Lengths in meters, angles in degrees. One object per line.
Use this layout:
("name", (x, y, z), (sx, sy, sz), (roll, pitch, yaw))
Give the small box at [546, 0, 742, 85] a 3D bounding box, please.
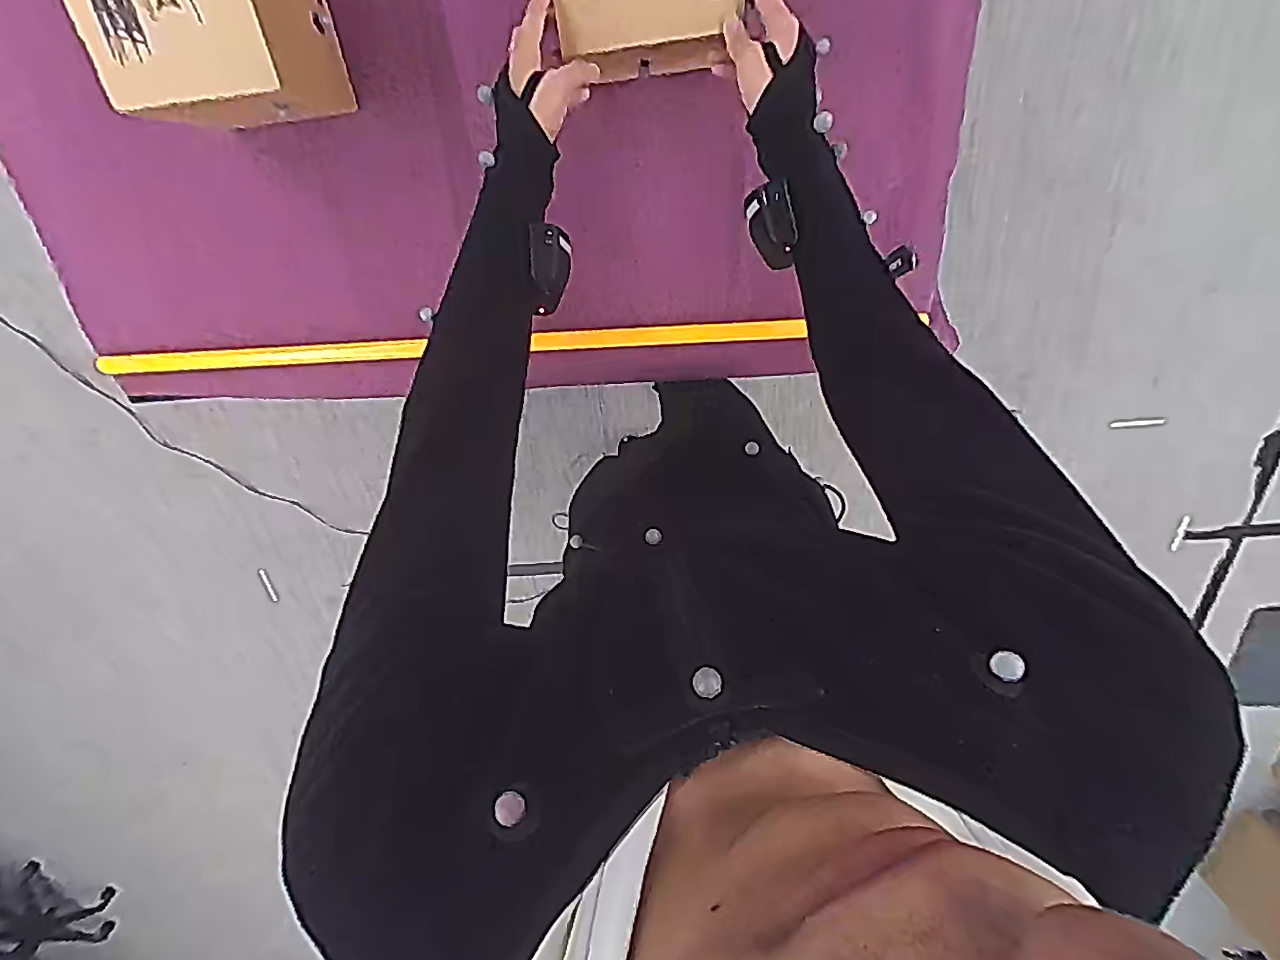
("small box", (-0.004, -0.507, 0.528), (0.179, 0.176, 0.168), (-6, 118, 3))
